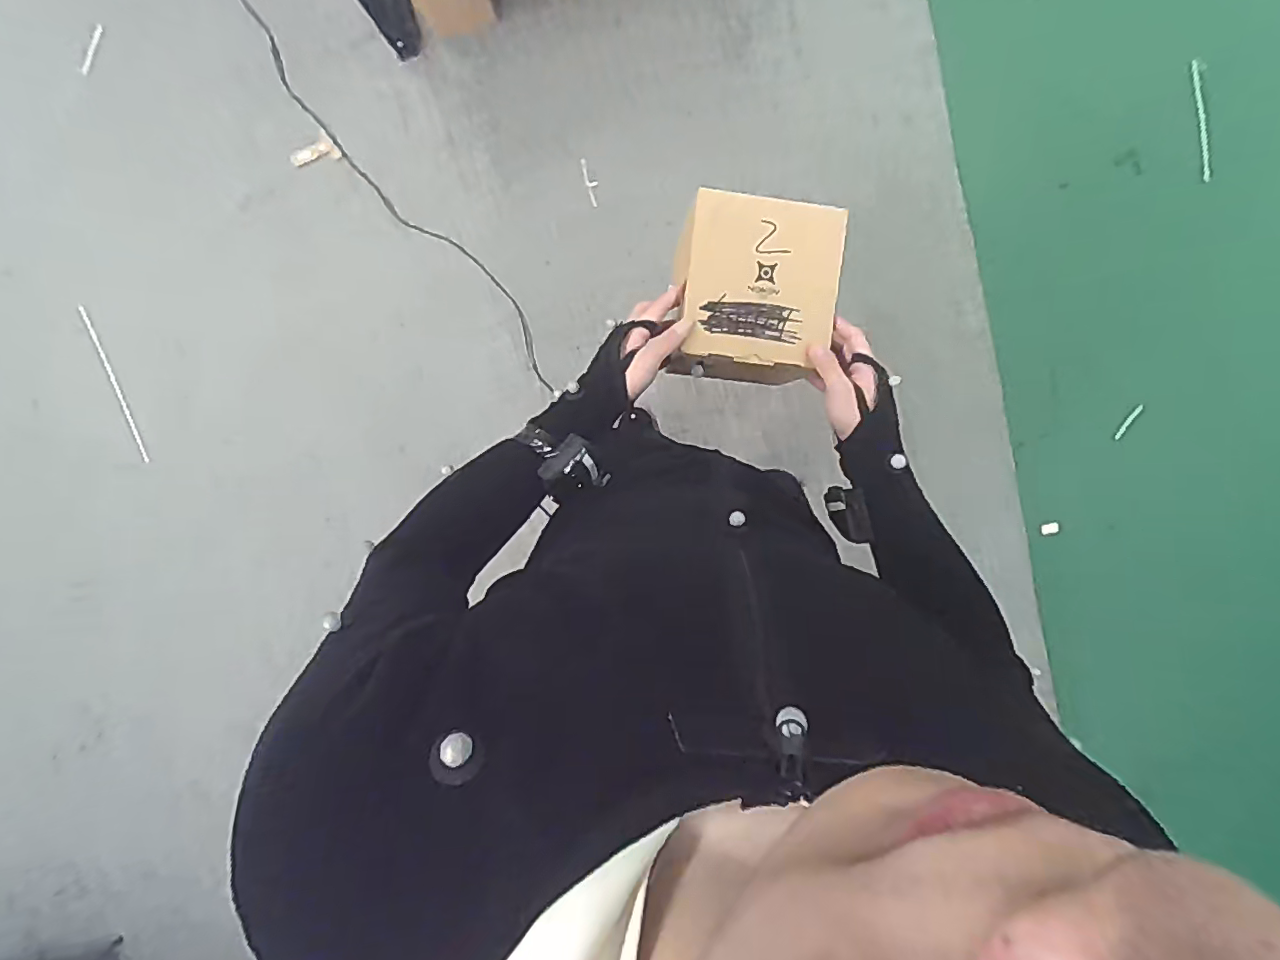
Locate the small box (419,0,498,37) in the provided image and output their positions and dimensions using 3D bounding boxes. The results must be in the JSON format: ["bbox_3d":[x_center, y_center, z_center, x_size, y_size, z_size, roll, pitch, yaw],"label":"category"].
[{"bbox_3d":[-0.484,-1.279,1.368,0.179,0.176,0.168,-17,97,3],"label":"small box"}]
